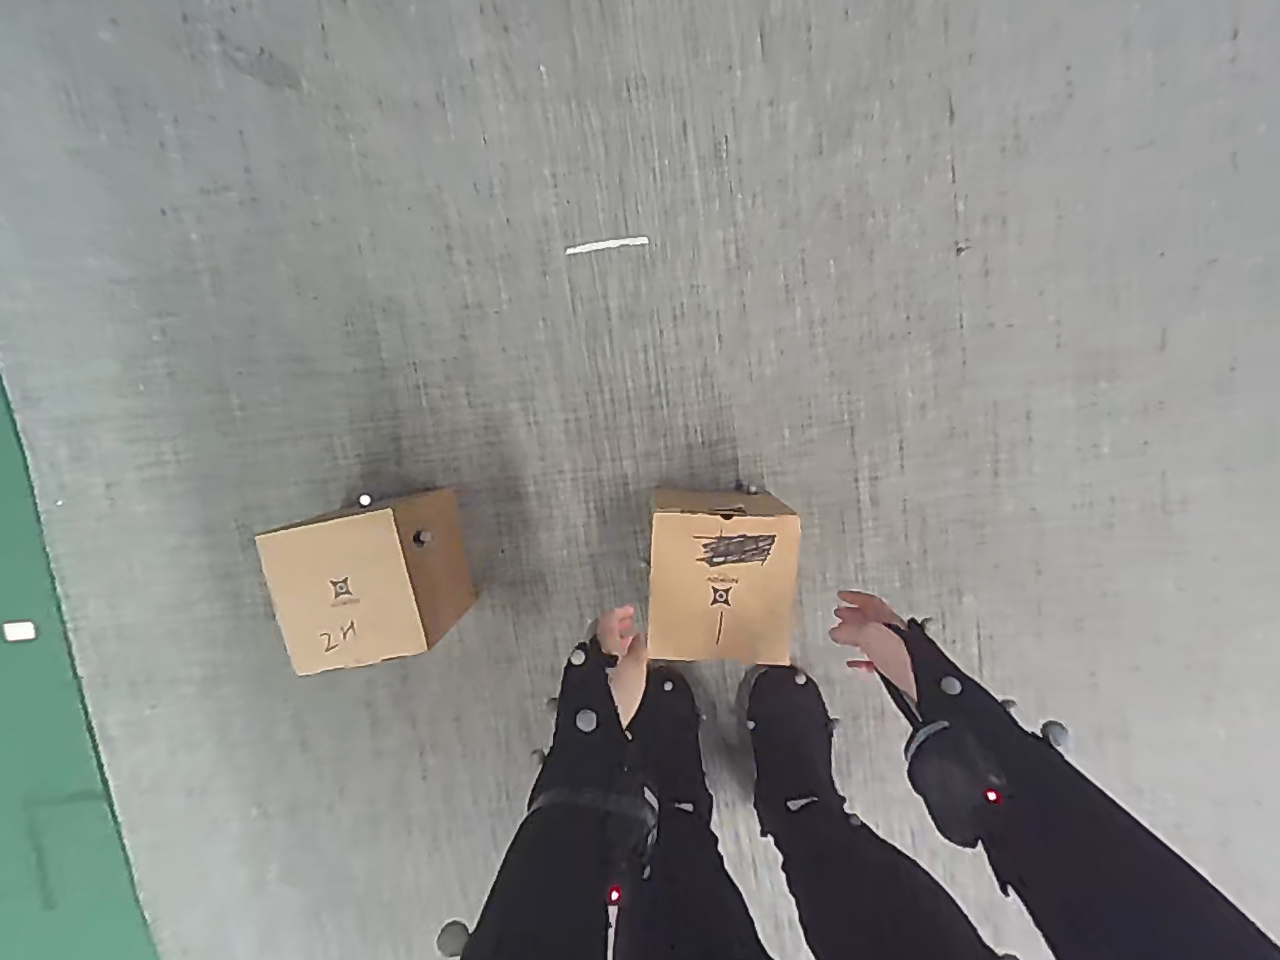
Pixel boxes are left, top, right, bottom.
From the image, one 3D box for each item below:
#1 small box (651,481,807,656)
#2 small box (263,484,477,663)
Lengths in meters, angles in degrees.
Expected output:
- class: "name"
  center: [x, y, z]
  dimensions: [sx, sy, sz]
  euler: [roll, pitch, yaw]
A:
- class: "small box"
  center: [0.099, 0.099, 0.678]
  dimensions: [0.168, 0.176, 0.179]
  euler: [3, 98, 2]
- class: "small box"
  center: [-0.329, 0.105, 0.696]
  dimensions: [0.168, 0.176, 0.179]
  euler: [-11, 97, 4]
